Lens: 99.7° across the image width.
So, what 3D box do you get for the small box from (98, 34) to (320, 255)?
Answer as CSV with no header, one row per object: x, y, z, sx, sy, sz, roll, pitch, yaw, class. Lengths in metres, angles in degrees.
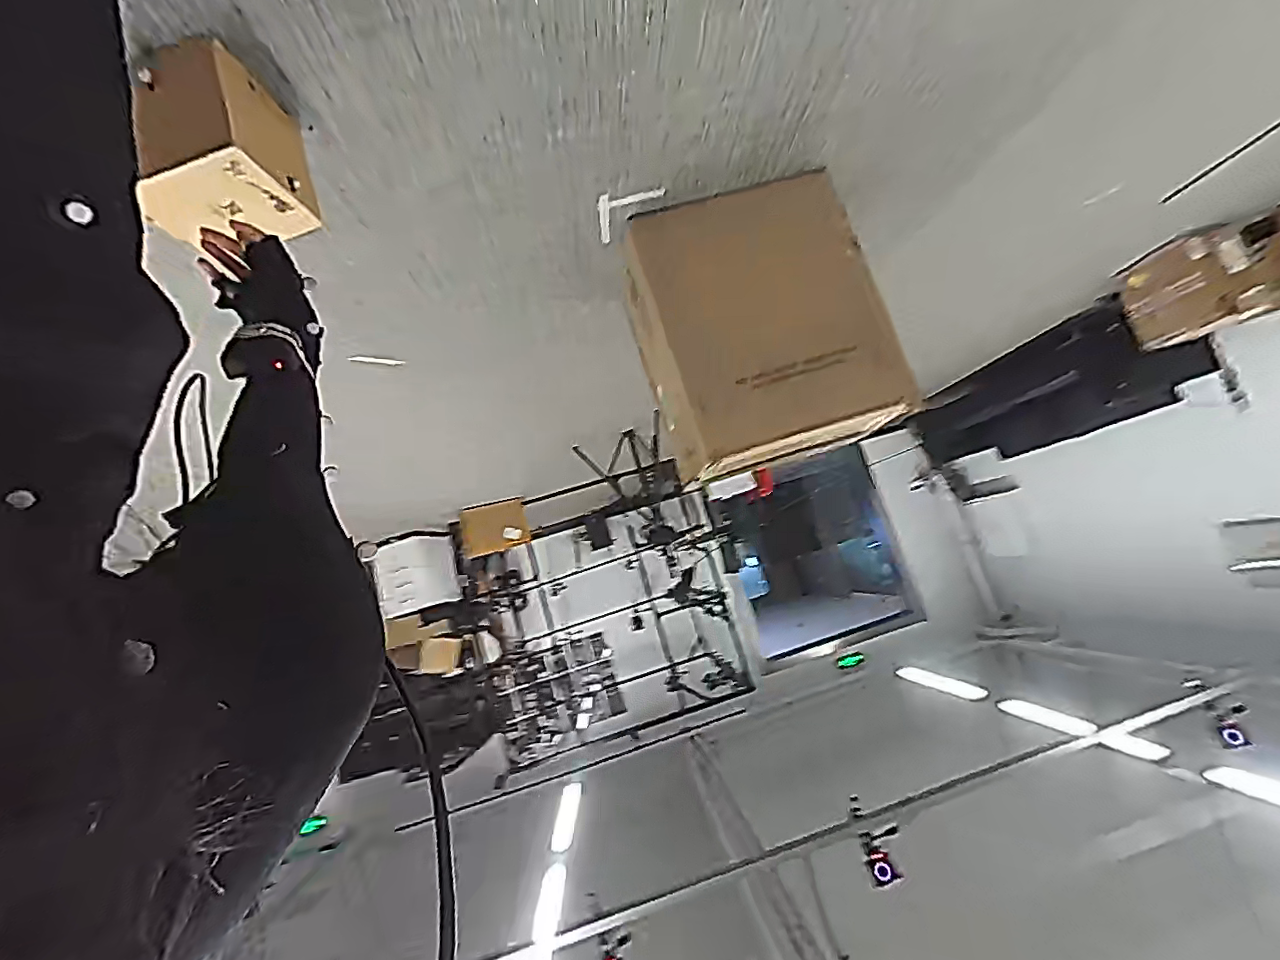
-0.583,-0.449,0.741,0.179,0.176,0.168,-17,172,3,small box
